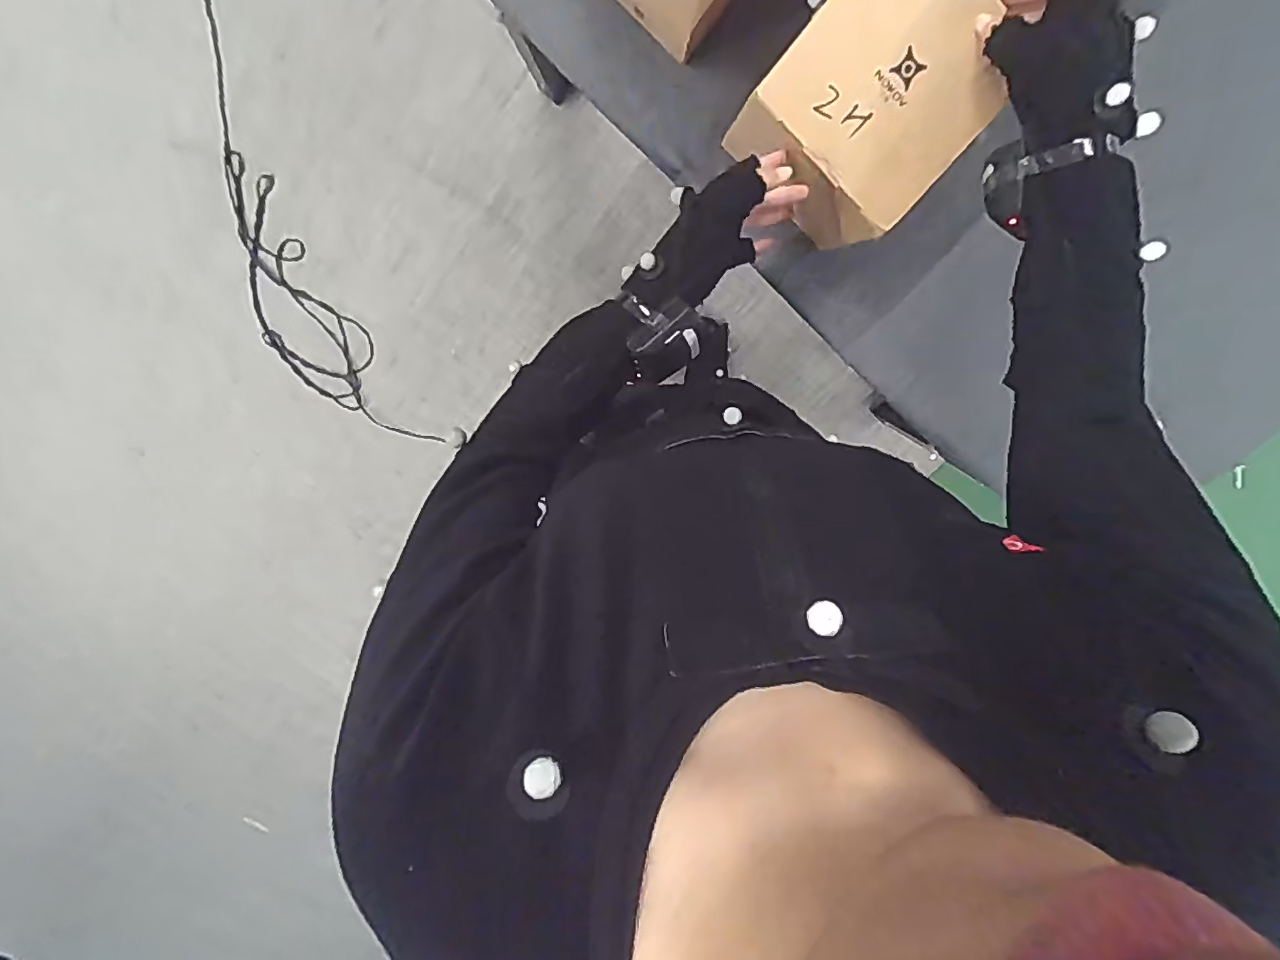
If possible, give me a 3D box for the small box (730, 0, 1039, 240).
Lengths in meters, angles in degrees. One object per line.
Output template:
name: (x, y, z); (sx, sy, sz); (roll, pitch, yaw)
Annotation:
small box: (0.208, -0.358, 0.515); (0.168, 0.176, 0.179); (39, 105, -13)
